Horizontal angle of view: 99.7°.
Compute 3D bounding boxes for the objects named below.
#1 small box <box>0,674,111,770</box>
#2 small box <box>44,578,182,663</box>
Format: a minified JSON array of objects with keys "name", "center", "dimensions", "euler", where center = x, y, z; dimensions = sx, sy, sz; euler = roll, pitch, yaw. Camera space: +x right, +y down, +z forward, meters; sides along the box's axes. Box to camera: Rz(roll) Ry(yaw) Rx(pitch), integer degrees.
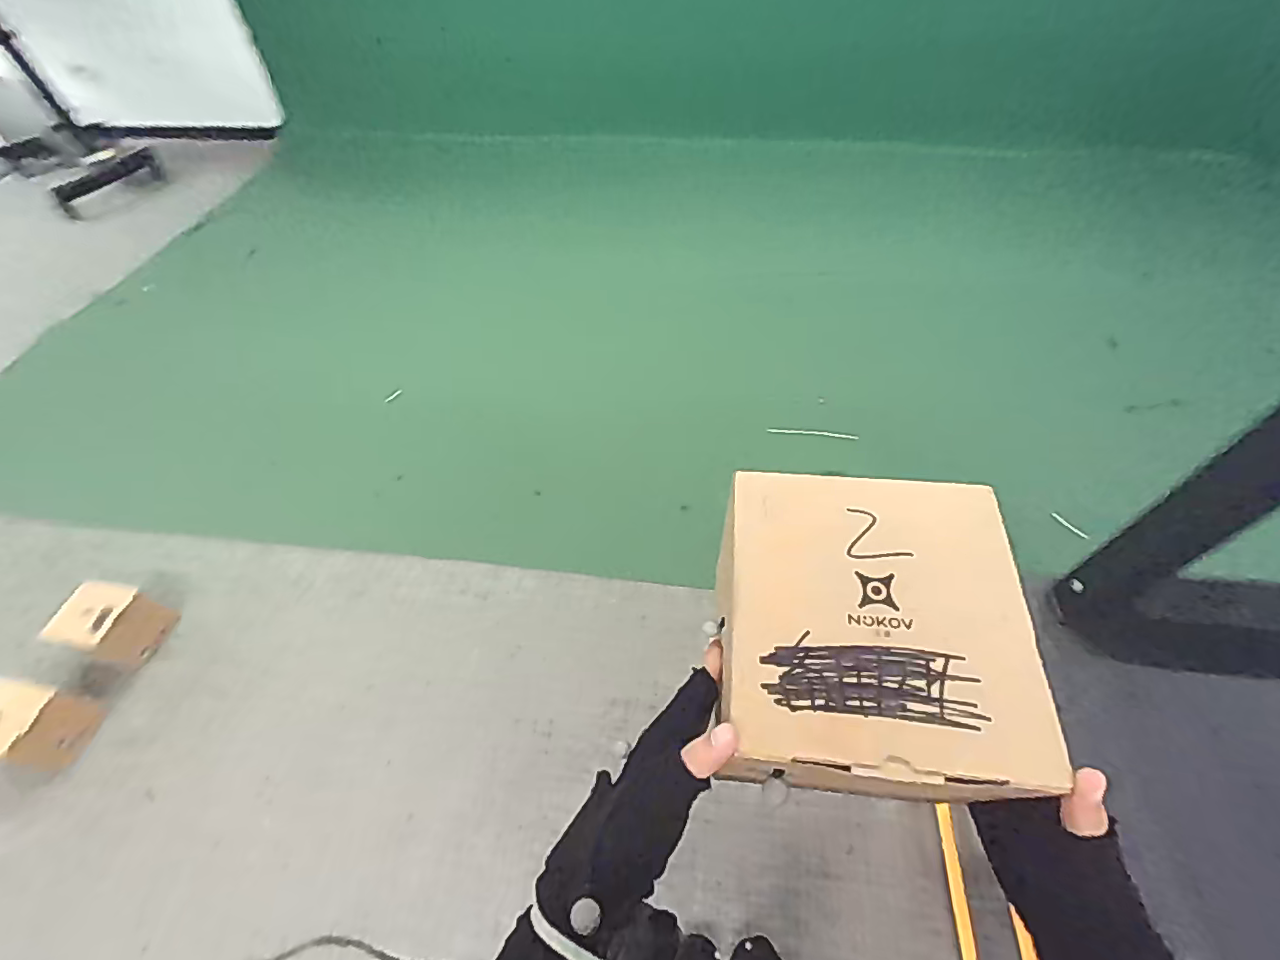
[{"name":"small box","center":[-1.499,0.600,1.335],"dimensions":[0.179,0.176,0.168],"euler":[8,52,7]},{"name":"small box","center":[-1.441,0.393,1.496],"dimensions":[0.179,0.176,0.168],"euler":[7,52,8]}]
